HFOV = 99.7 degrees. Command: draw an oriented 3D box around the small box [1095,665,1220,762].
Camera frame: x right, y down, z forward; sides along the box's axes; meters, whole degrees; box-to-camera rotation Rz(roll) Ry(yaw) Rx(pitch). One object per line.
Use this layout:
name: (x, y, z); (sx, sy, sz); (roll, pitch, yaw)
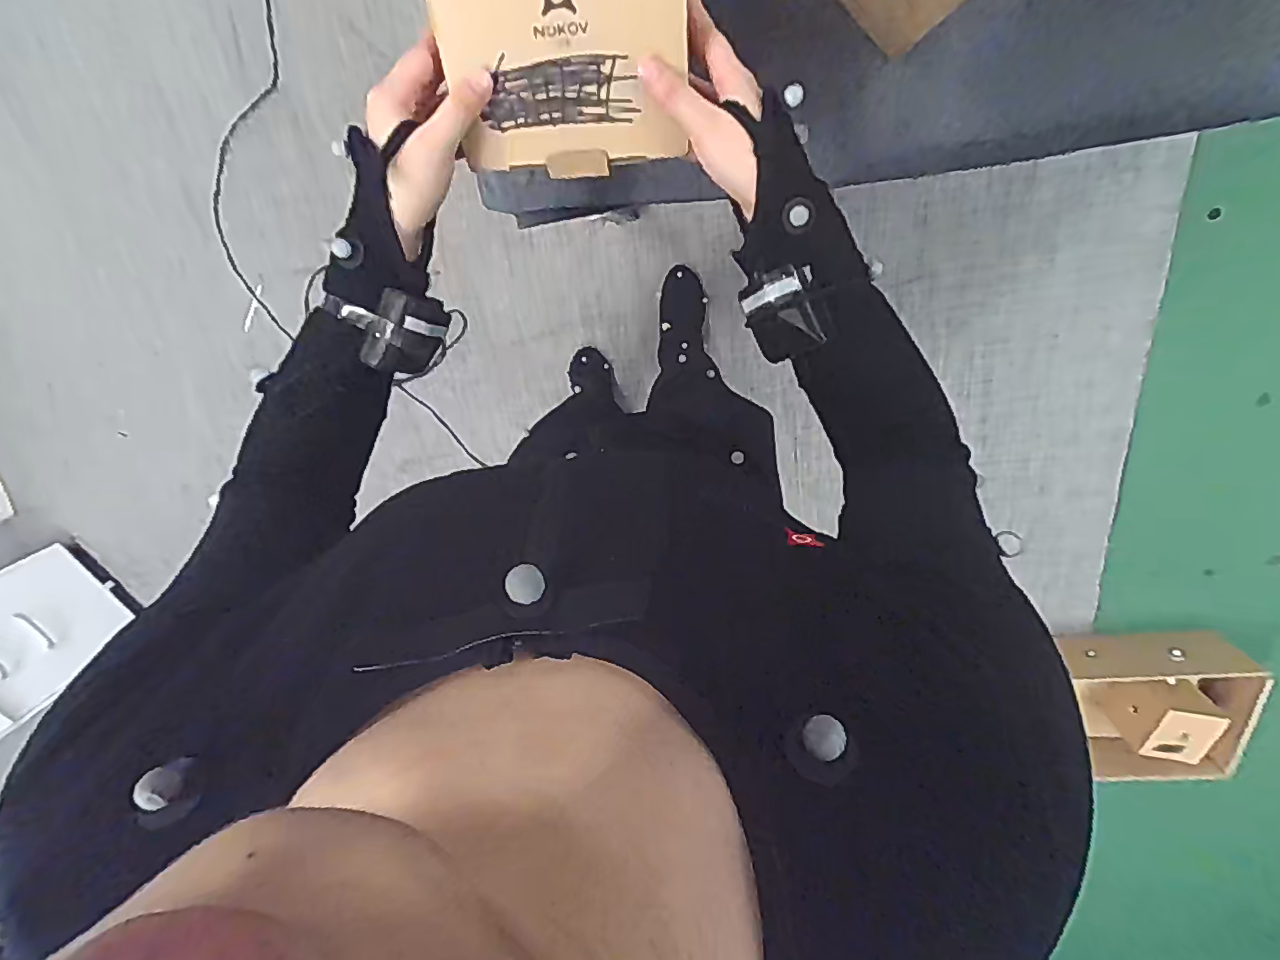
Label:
small box: (1.473, 0.669, 1.557); (0.168, 0.176, 0.179); (9, 115, 2)

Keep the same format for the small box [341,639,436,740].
small box: (-0.649, 0.541, 1.410); (0.179, 0.176, 0.168); (12, 114, -3)
